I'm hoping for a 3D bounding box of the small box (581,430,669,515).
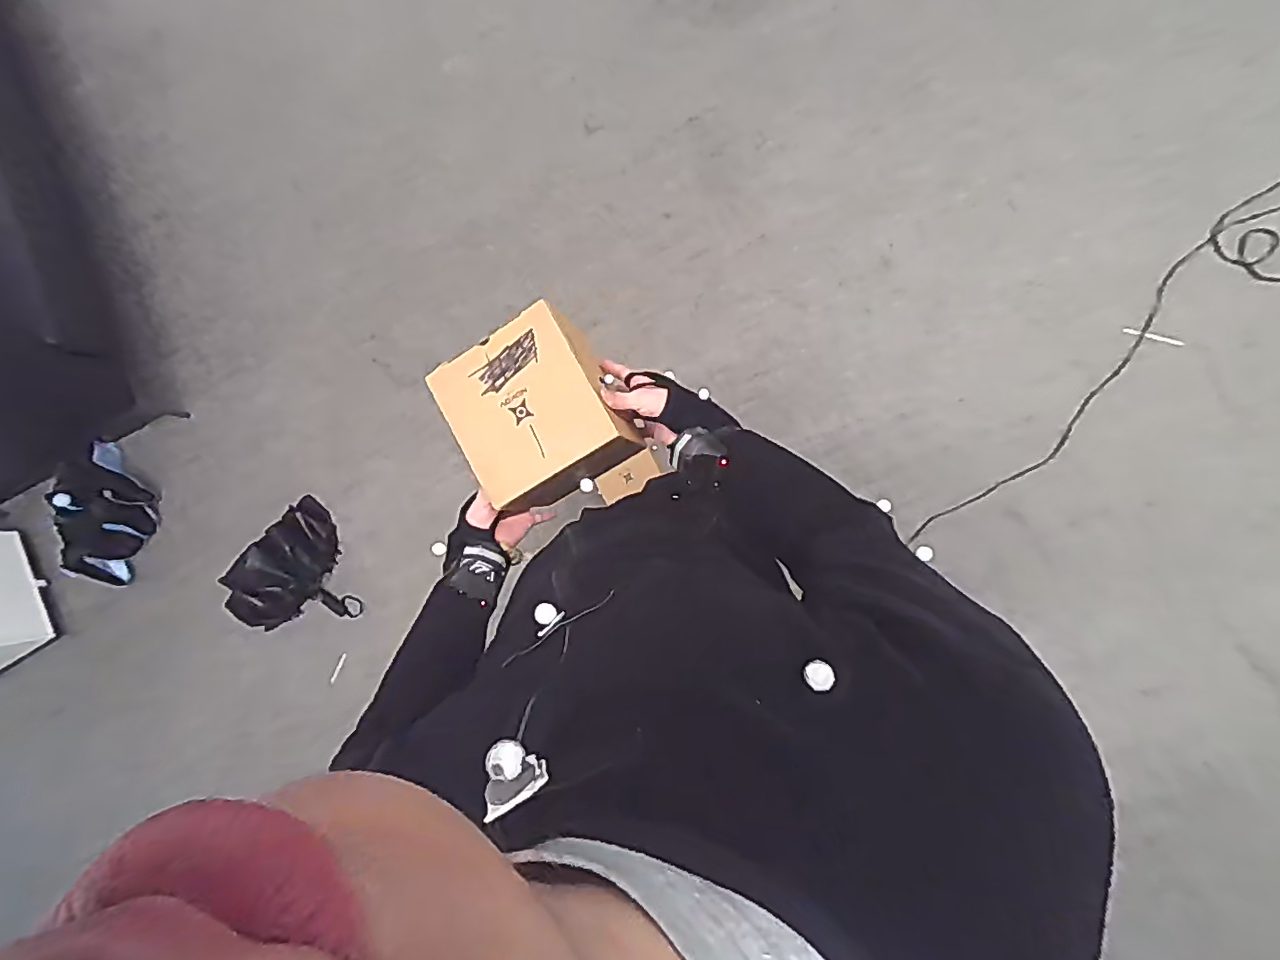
[{"bbox_3d":[-0.035,-0.015,1.481,0.168,0.176,0.179,-29,84,7],"label":"small box"}]
